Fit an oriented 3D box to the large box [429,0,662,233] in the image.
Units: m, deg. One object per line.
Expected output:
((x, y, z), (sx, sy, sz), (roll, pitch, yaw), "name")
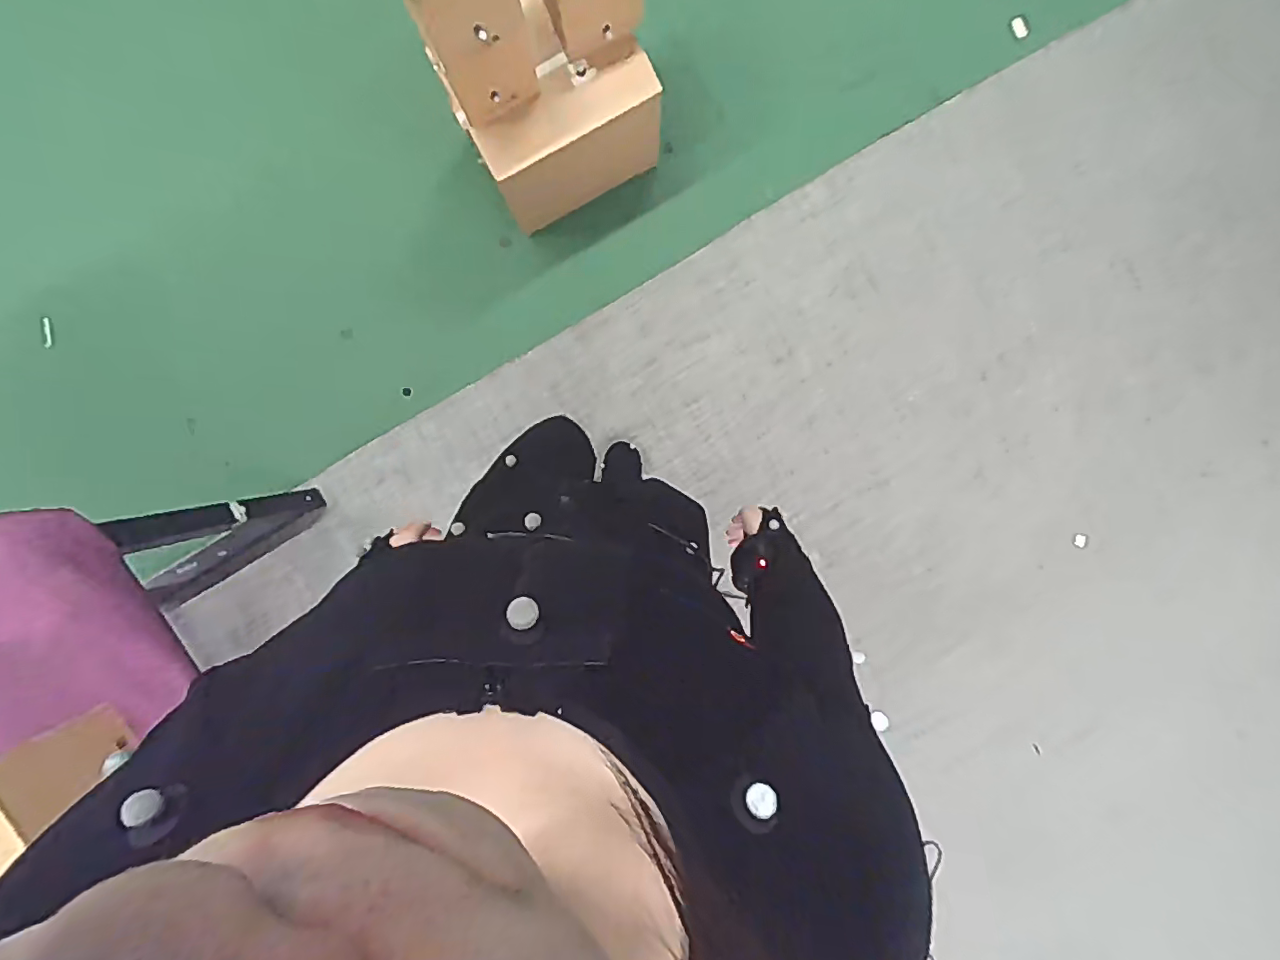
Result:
((-0.199, -0.866, 1.269), (0.408, 0.320, 0.320), (-29, 95, 1), "large box")

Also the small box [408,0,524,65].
((-0.308, -0.829, 0.862), (0.168, 0.176, 0.179), (-29, 94, 1), "small box")

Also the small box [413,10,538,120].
((-0.314, -0.842, 1.027), (0.168, 0.176, 0.179), (-28, 94, 1), "small box")

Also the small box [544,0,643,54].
((-0.098, -0.965, 1.016), (0.179, 0.176, 0.168), (-23, 93, 1), "small box")

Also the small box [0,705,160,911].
((-0.797, 0.432, 0.698), (0.179, 0.176, 0.168), (-30, 94, 2), "small box")
